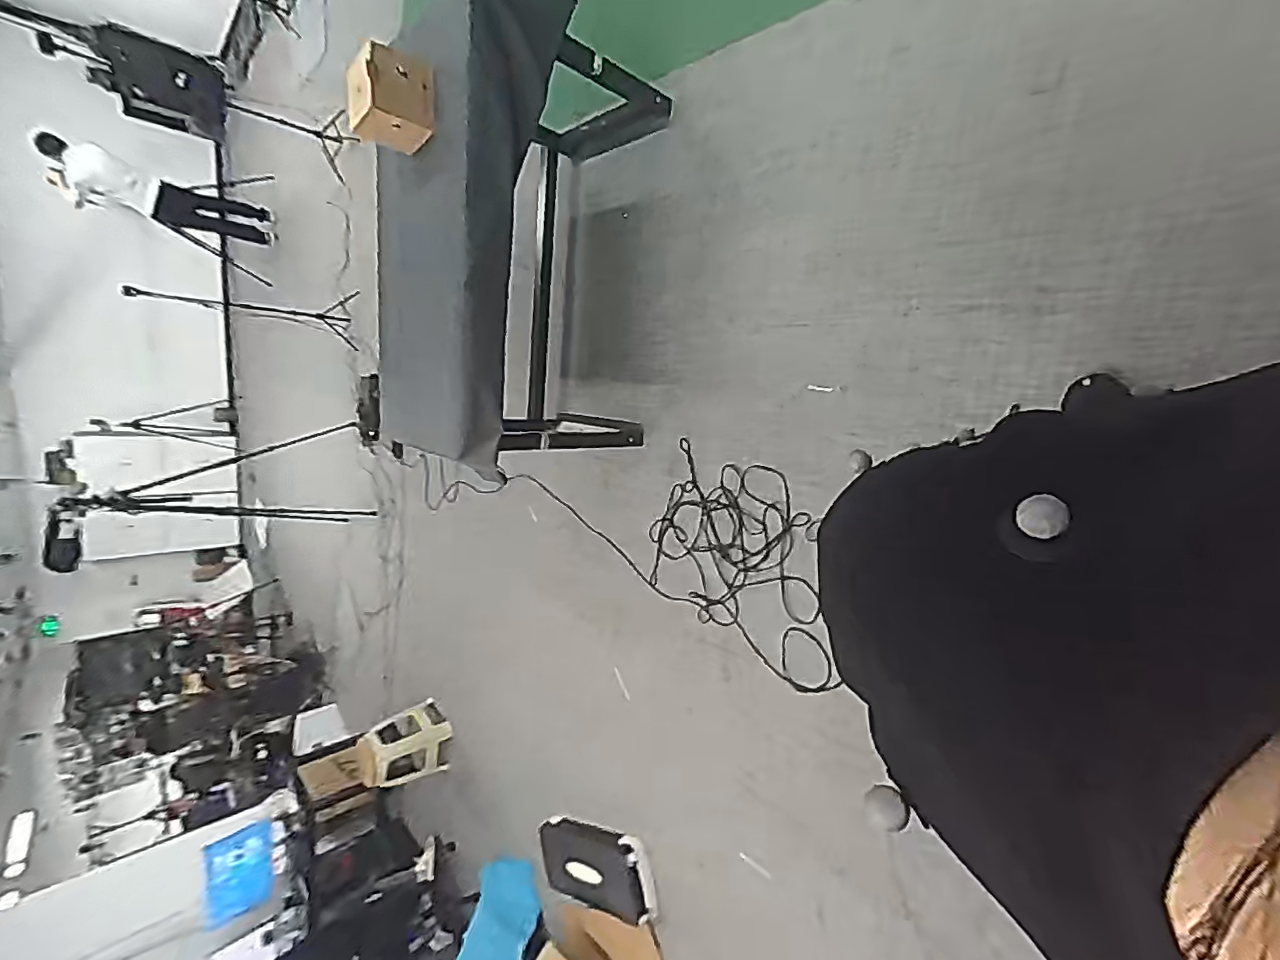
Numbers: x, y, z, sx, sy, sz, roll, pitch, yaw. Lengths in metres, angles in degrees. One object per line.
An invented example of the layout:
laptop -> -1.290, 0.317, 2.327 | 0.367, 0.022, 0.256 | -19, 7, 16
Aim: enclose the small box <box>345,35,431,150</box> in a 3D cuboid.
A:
small box -> -0.673, -1.028, 1.452 | 0.179, 0.176, 0.168 | 4, 96, 47
